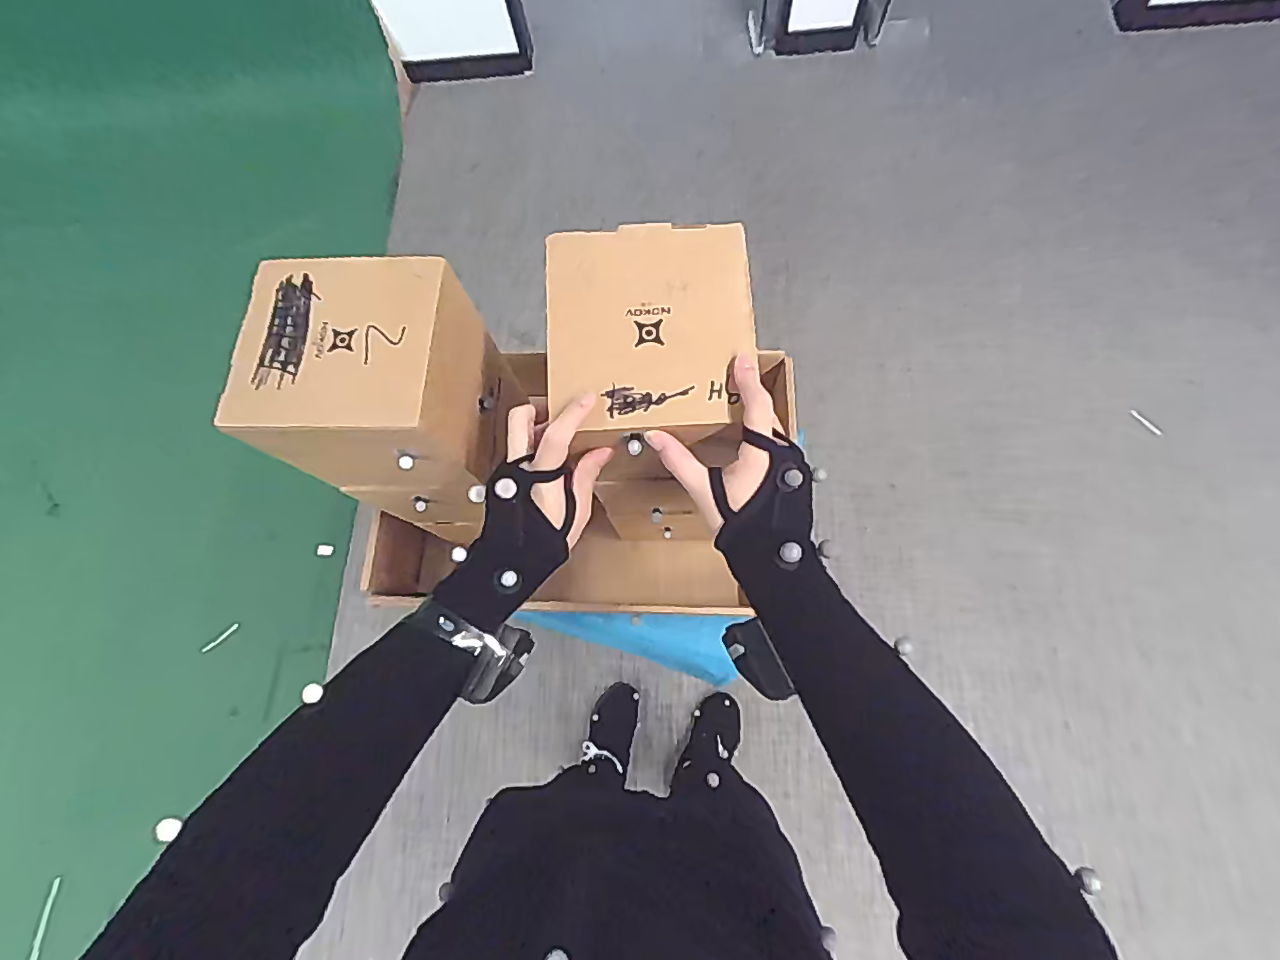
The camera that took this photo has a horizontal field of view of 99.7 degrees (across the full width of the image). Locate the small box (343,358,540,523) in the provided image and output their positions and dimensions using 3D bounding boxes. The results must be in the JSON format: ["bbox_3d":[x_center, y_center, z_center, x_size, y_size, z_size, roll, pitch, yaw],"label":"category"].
[{"bbox_3d":[-0.239,-0.041,0.695,0.179,0.176,0.168,-1,73,4],"label":"small box"}]

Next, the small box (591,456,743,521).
[{"bbox_3d":[0.037,-0.053,0.673,0.168,0.176,0.179,-2,72,6],"label":"small box"}]

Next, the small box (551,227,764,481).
[{"bbox_3d":[0.013,-0.105,0.508,0.168,0.176,0.179,-2,77,2],"label":"small box"}]
